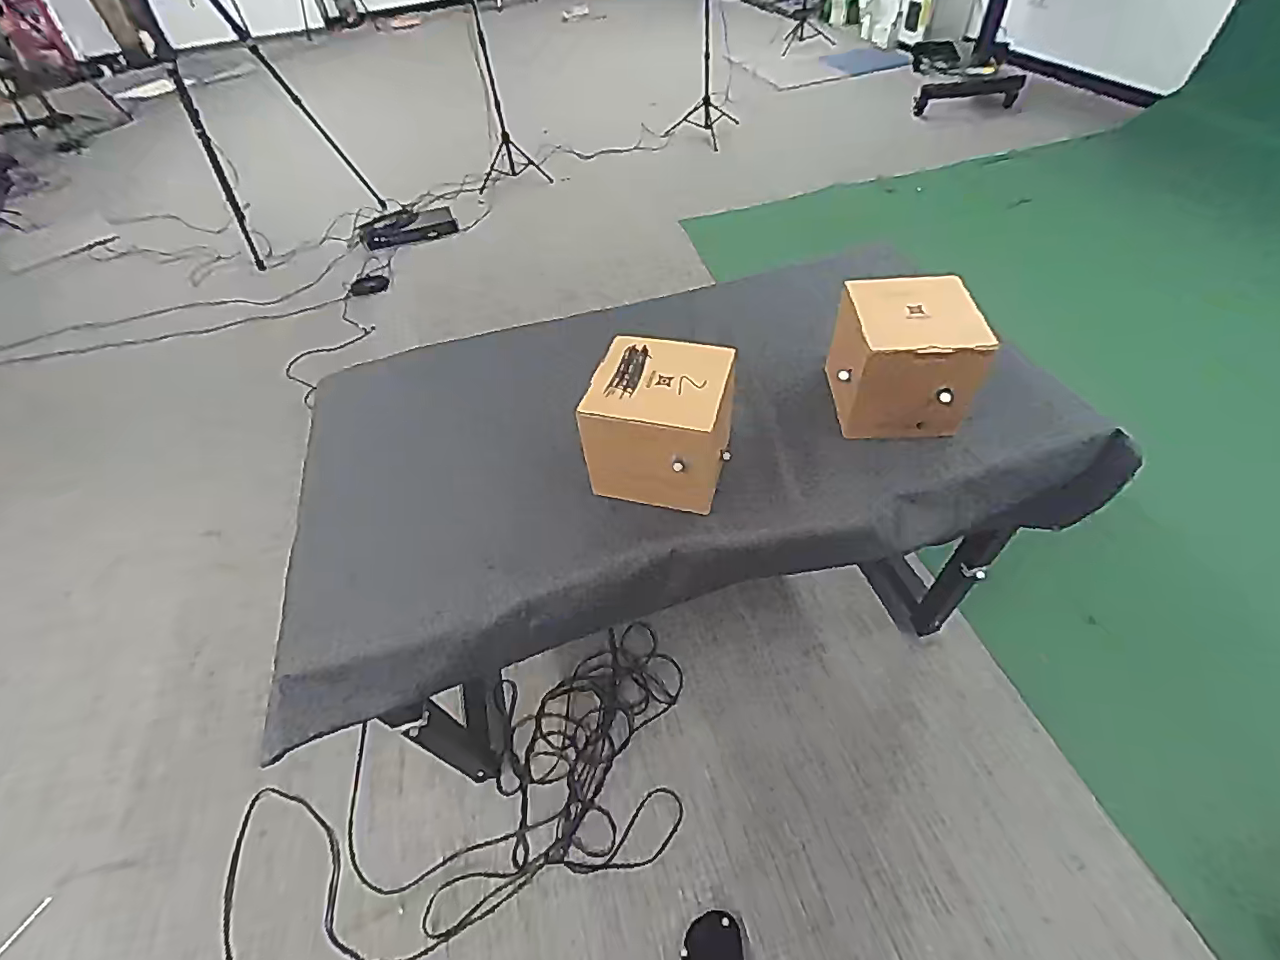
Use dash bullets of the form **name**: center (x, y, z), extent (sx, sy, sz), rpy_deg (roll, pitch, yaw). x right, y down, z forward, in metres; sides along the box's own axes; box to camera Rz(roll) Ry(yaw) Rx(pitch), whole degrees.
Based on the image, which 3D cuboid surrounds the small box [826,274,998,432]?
- **small box**: center (0.391, -0.185, 0.814), extent (0.168, 0.176, 0.179), rpy_deg (-1, 49, 5)
